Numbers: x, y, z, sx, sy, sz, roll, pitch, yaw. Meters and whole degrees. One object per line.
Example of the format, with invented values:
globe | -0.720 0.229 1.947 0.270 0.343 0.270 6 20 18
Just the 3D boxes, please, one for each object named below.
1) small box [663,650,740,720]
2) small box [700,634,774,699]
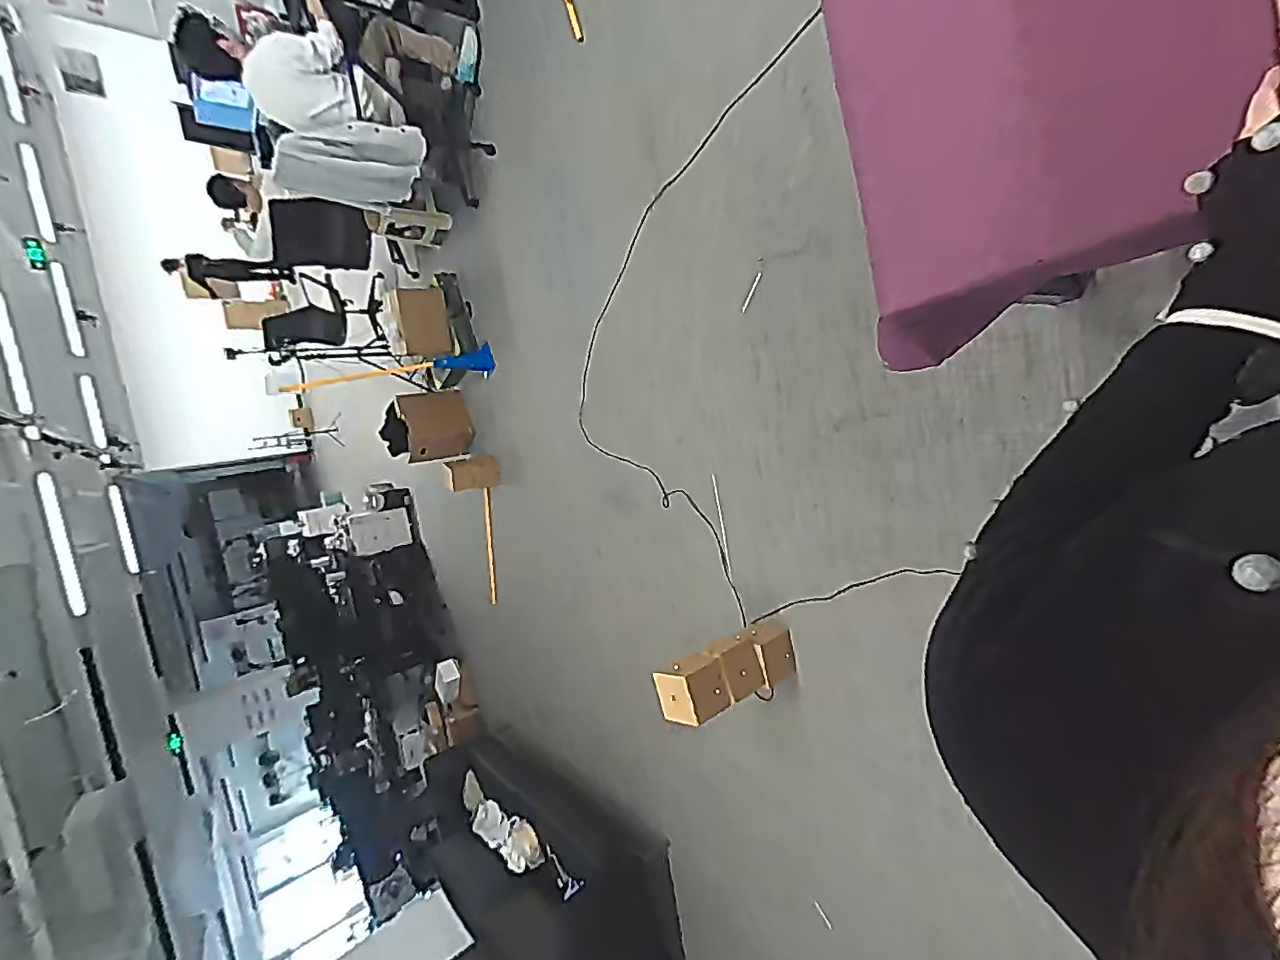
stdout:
small box | 0.213 0.698 1.863 0.179 0.176 0.168 -20 85 53
small box | 0.350 0.665 1.946 0.168 0.176 0.179 -25 81 54
